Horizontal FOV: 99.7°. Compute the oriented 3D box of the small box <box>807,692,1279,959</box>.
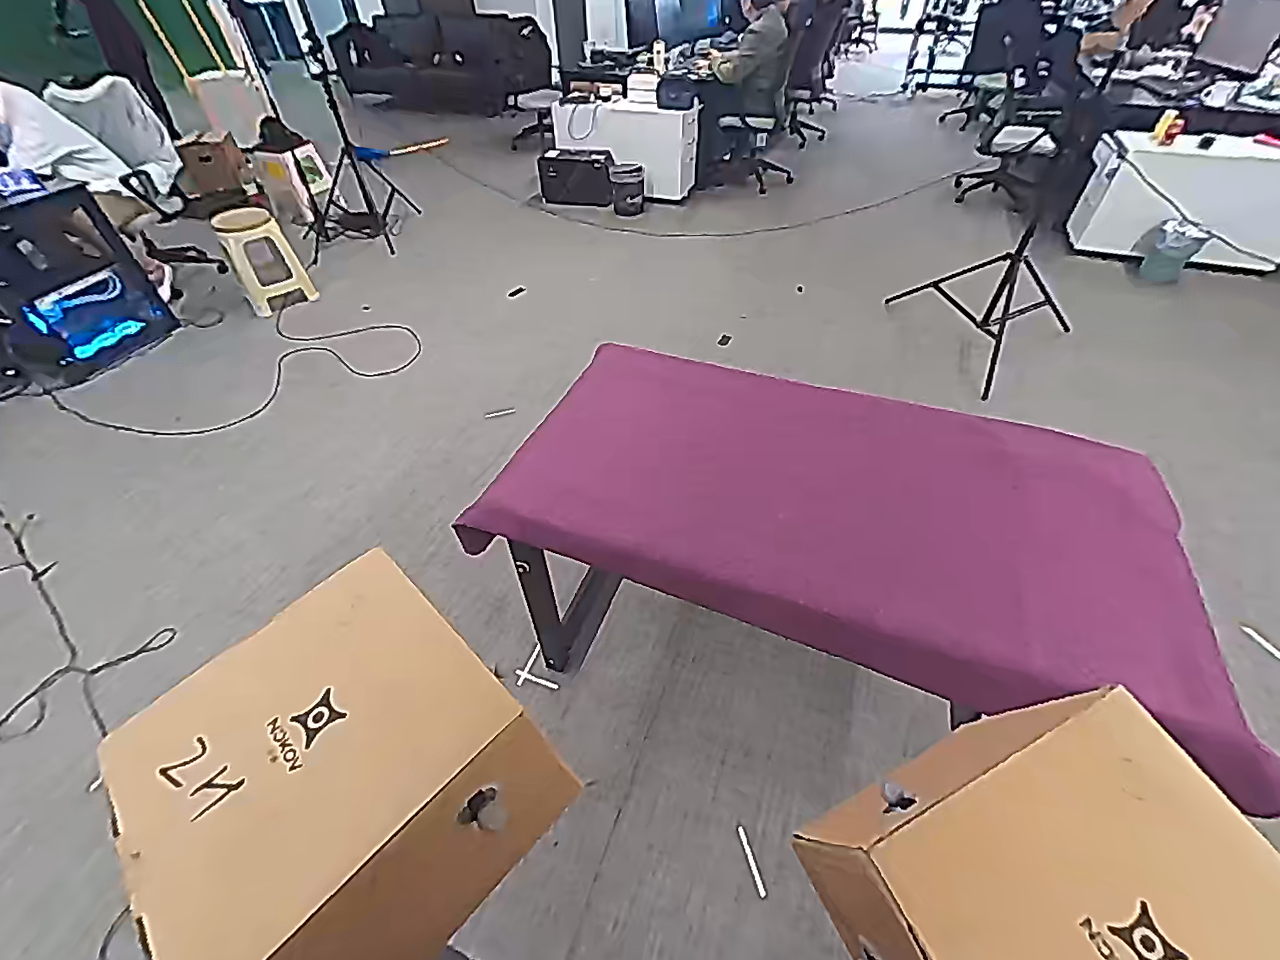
[{"bbox_3d":[0.227,0.250,0.313,0.179,0.176,0.168,-24,61,-12],"label":"small box"}]

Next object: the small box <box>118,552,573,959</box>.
[{"bbox_3d":[-0.161,0.188,0.349,0.168,0.176,0.179,32,60,32],"label":"small box"}]
